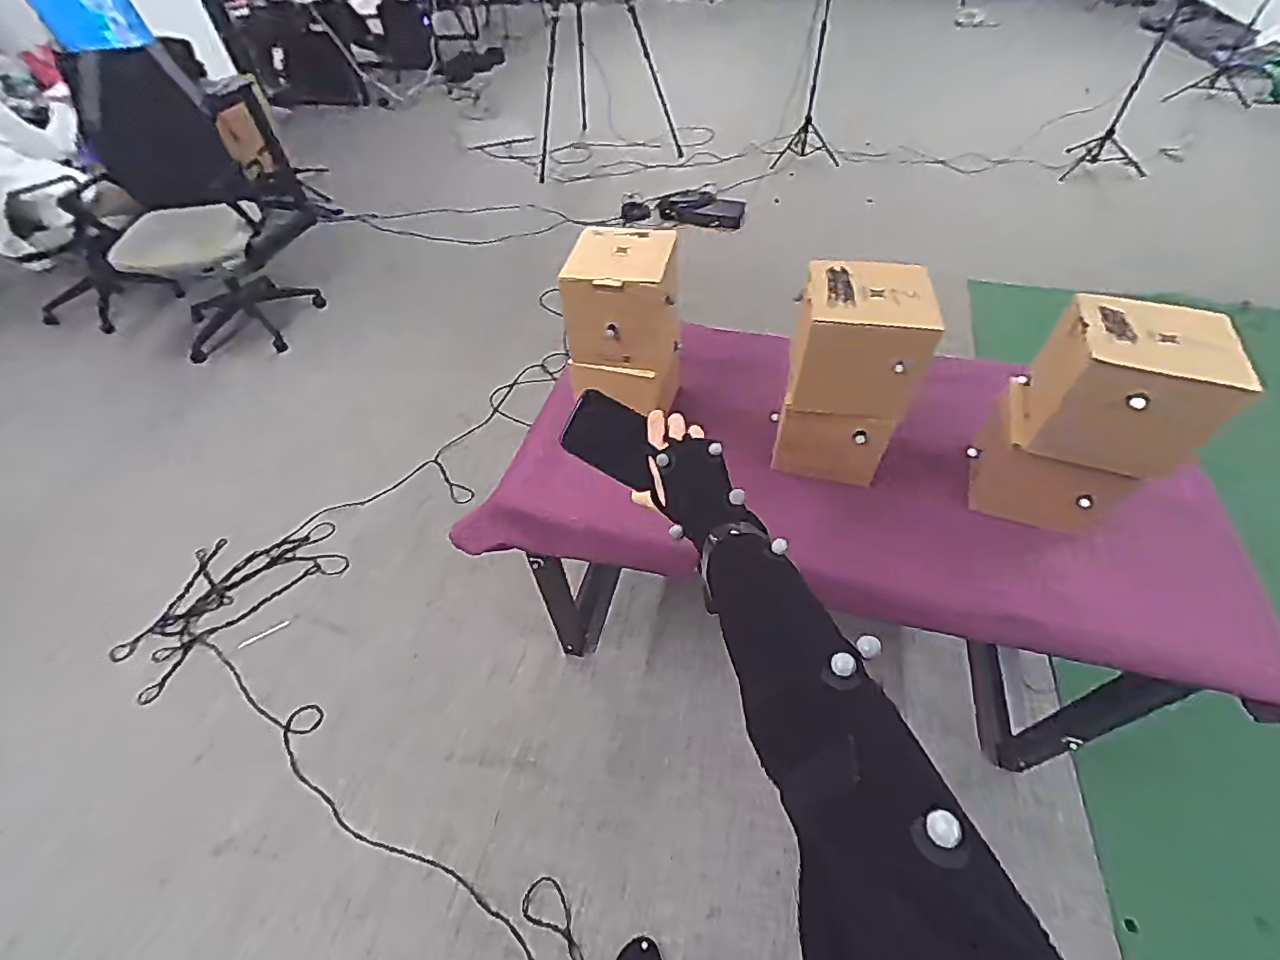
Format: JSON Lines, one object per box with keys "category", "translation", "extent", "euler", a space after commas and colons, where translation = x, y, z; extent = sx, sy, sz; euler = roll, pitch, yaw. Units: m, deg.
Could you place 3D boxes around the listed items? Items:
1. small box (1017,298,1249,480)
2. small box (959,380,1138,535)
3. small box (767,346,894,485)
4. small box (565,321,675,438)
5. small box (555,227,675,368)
{"category": "small box", "translation": [0.656, -0.124, 0.752], "extent": [0.179, 0.176, 0.168], "euler": [17, 53, 16]}
{"category": "small box", "translation": [0.658, -0.033, 0.888], "extent": [0.179, 0.176, 0.168], "euler": [17, 53, 17]}
{"category": "small box", "translation": [0.338, -0.113, 0.970], "extent": [0.179, 0.176, 0.168], "euler": [12, 52, 13]}
{"category": "small box", "translation": [-0.029, -0.206, 1.069], "extent": [0.168, 0.176, 0.179], "euler": [12, 52, 13]}
{"category": "small box", "translation": [-0.034, -0.317, 0.947], "extent": [0.168, 0.176, 0.179], "euler": [9, 52, 9]}
